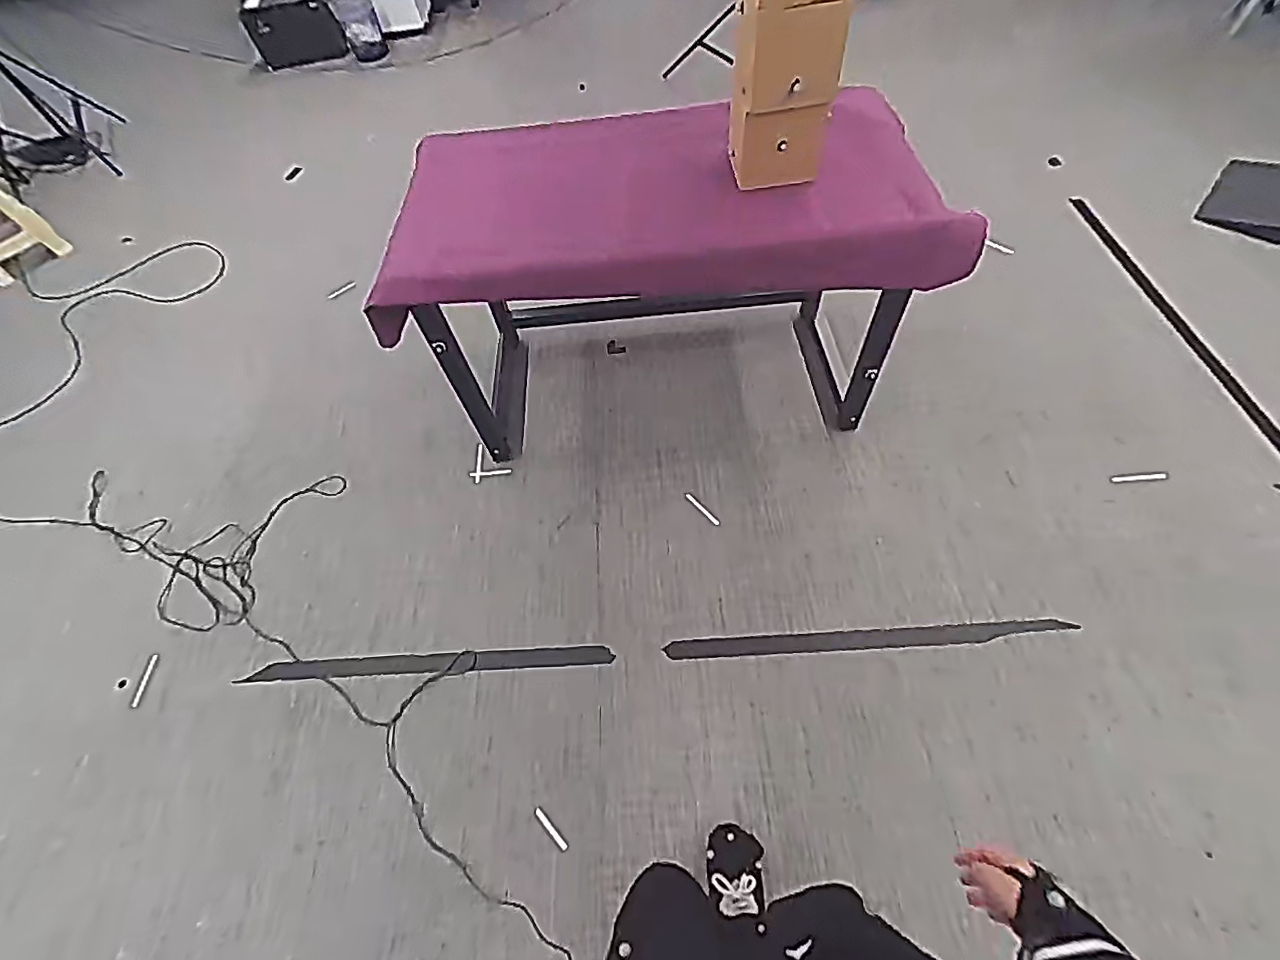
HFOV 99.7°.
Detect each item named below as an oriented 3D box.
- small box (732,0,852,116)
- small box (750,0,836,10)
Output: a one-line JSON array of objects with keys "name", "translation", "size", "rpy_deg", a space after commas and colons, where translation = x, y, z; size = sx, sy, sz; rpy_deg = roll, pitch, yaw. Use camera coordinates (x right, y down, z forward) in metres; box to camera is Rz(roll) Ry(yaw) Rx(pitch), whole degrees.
[{"name": "small box", "translation": [0.287, -0.851, 1.062], "size": [0.179, 0.176, 0.168], "rpy_deg": [-9, 57, 0]}, {"name": "small box", "translation": [0.271, -0.944, 0.929], "size": [0.179, 0.176, 0.168], "rpy_deg": [-9, 58, 0]}]
